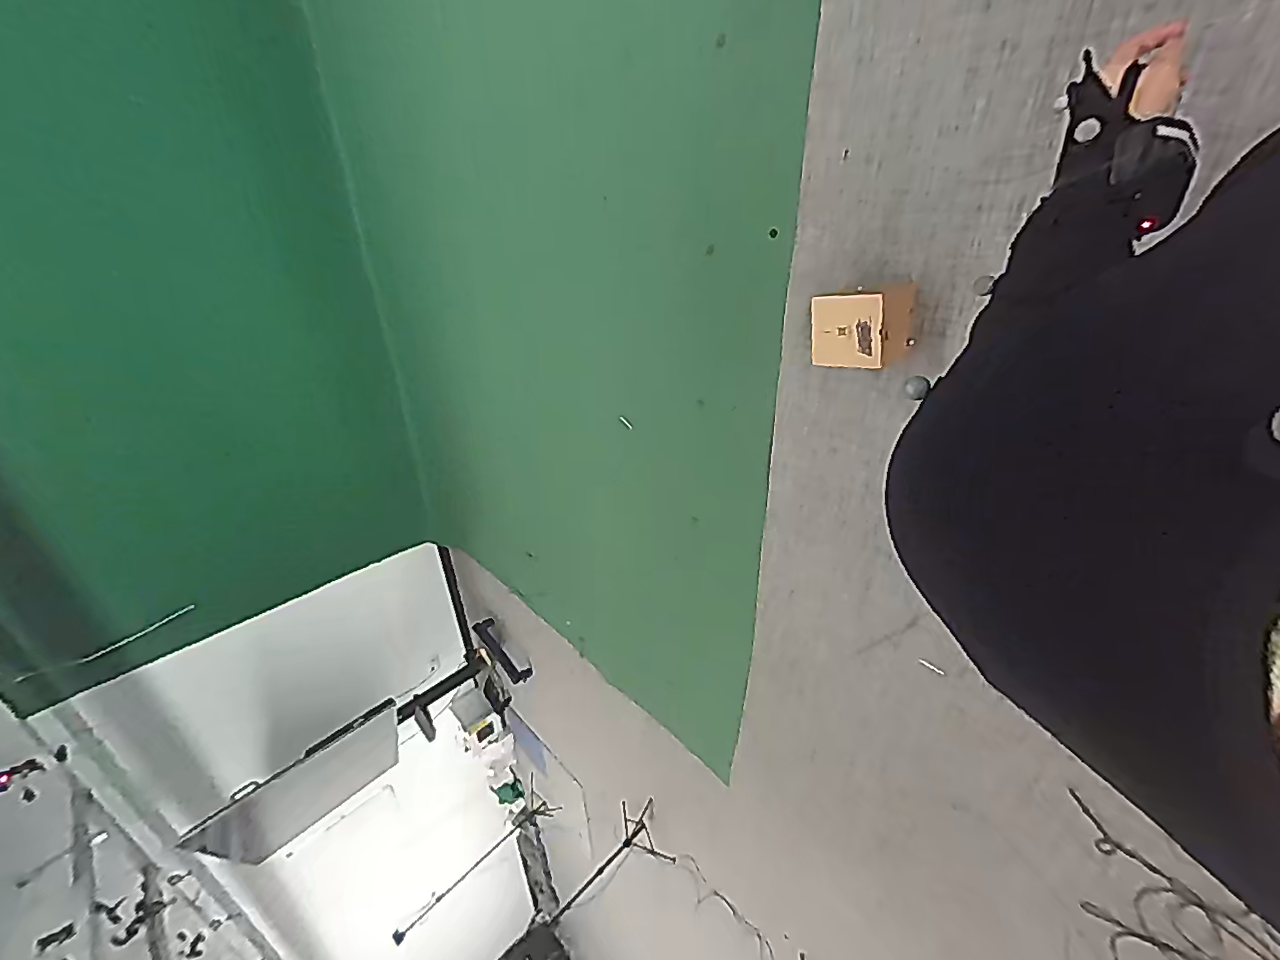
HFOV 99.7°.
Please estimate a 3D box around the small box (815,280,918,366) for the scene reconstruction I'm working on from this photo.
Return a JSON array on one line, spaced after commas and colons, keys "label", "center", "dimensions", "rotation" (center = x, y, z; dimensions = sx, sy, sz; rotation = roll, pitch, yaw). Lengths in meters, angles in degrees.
[{"label": "small box", "center": [0.542, -0.378, 1.294], "dimensions": [0.179, 0.176, 0.168], "rotation": [17, 123, 46]}]
